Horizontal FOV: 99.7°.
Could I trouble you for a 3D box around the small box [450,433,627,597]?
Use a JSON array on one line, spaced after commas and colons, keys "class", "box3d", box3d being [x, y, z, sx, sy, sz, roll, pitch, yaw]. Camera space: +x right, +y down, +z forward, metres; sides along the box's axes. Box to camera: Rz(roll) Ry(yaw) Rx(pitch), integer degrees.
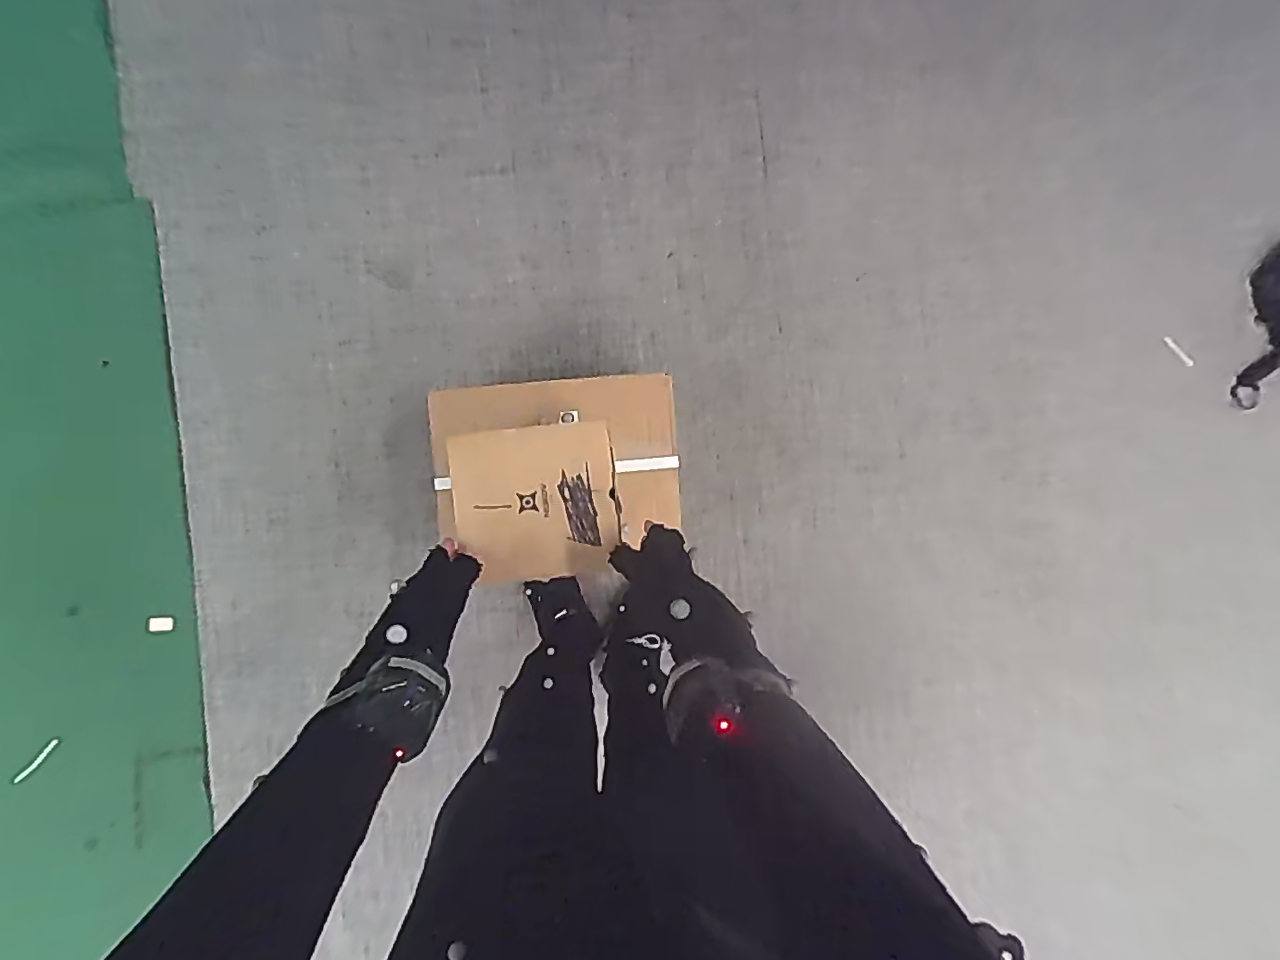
[{"class": "small box", "box3d": [-0.113, 0.035, 0.658, 0.179, 0.176, 0.168, -6, 90, -3]}]
